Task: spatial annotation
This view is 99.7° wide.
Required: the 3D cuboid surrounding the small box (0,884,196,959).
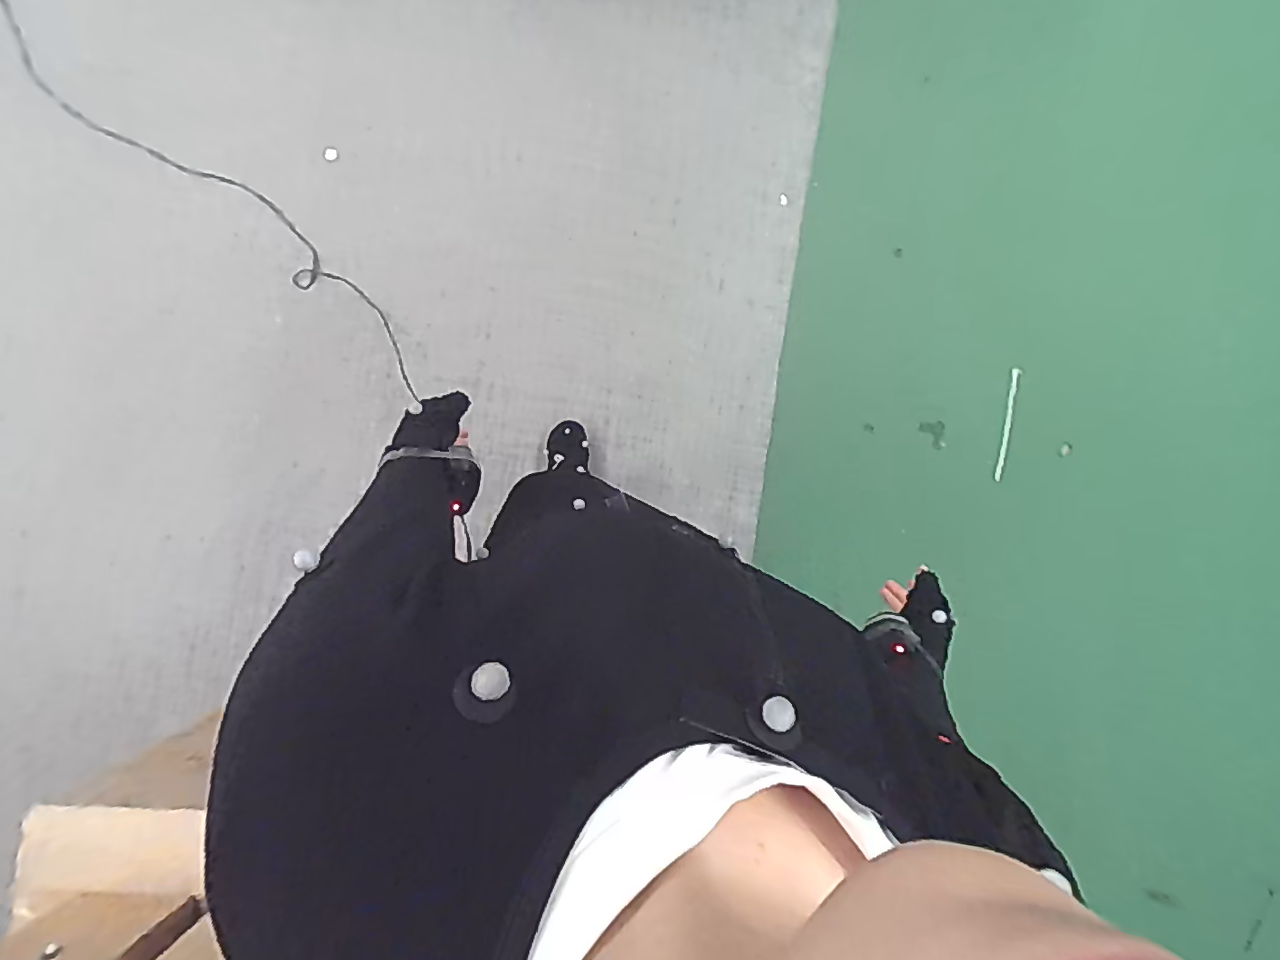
[{"bbox_3d":[-0.739,0.668,0.711,0.179,0.176,0.168,1,82,-1],"label":"small box"}]
